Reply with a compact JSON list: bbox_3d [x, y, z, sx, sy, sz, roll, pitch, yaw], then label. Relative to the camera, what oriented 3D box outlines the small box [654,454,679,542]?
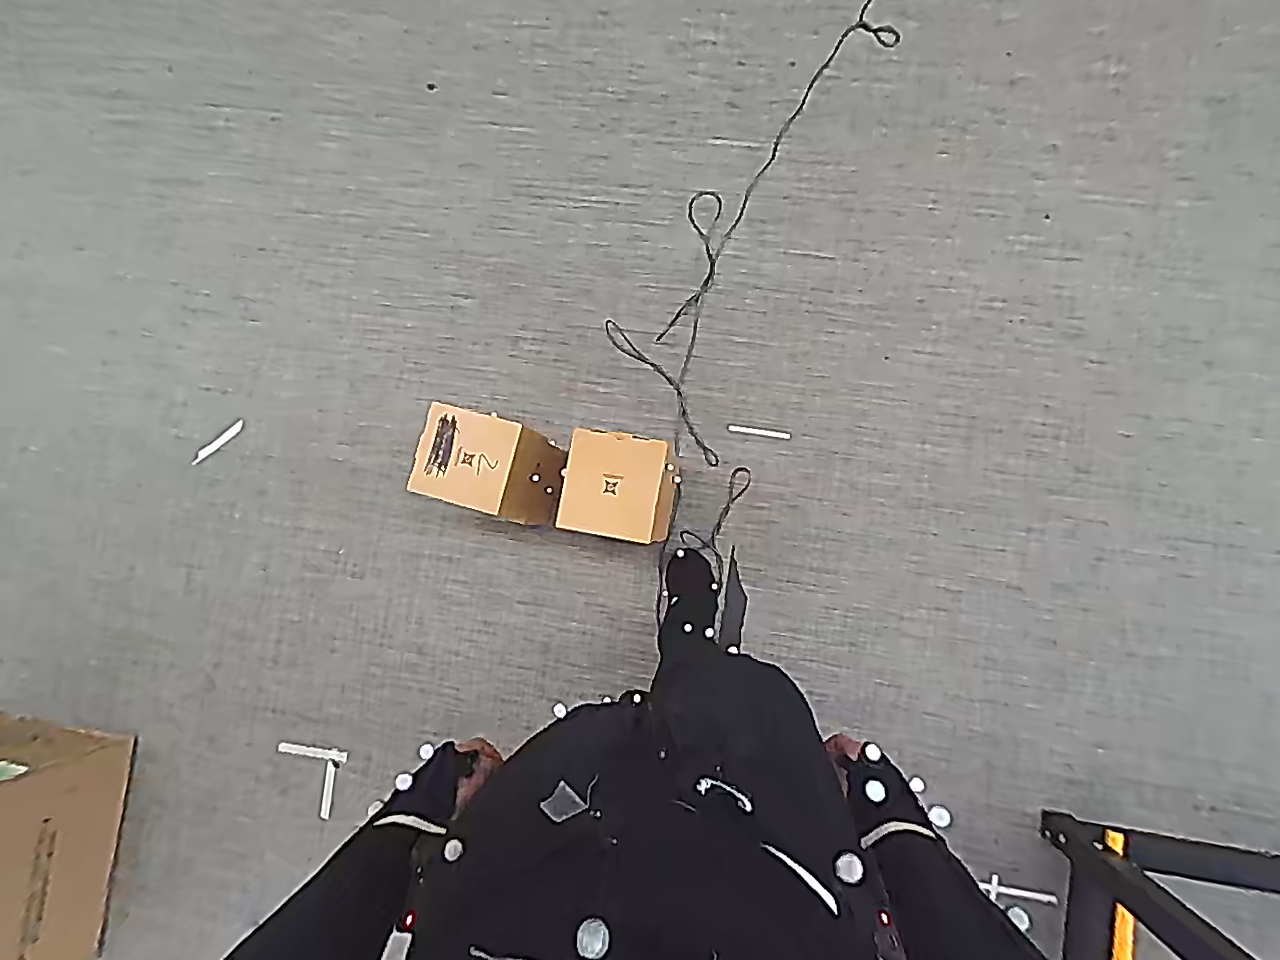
[{"bbox_3d":[-0.011,0.029,1.147,0.168,0.176,0.179,10,87,9],"label":"small box"}]

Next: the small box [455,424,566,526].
[{"bbox_3d":[-0.272,-0.006,1.178,0.168,0.176,0.179,15,88,7],"label":"small box"}]

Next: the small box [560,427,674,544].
[{"bbox_3d":[-0.033,0.015,0.987,0.168,0.176,0.179,9,86,8],"label":"small box"}]
